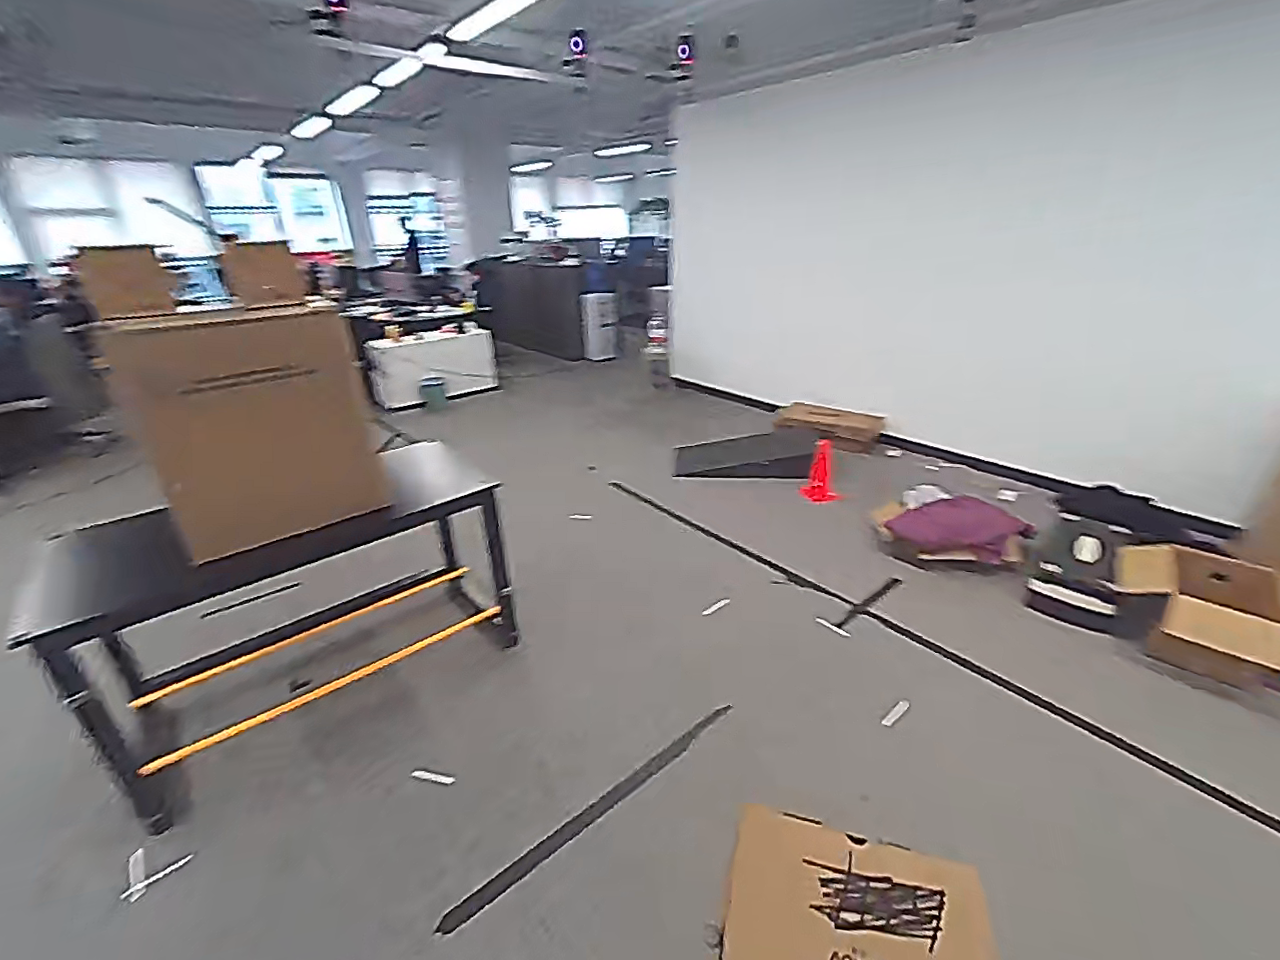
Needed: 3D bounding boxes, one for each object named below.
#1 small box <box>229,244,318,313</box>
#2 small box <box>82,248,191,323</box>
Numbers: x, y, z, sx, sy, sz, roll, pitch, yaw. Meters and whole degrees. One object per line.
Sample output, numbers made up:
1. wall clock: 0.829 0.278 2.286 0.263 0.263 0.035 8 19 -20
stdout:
1. small box: -1.049 -0.577 1.548 0.168 0.176 0.179 -22 31 -33
2. small box: -1.300 -0.507 1.406 0.168 0.176 0.179 -19 30 -36
